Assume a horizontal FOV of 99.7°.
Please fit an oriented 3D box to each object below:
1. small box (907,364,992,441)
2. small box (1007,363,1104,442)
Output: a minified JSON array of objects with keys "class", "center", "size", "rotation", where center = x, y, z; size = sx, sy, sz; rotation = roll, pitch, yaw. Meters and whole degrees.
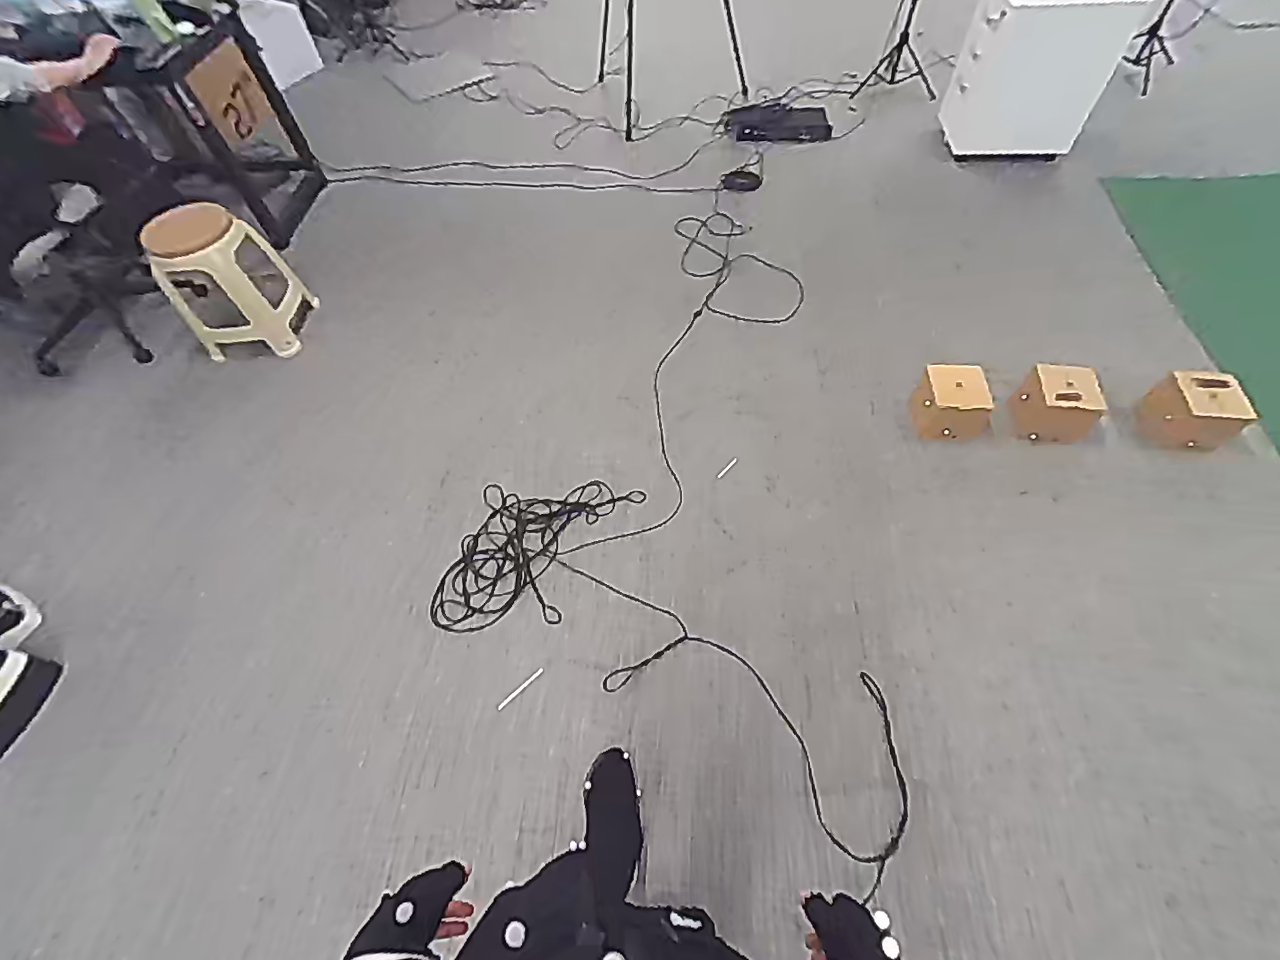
[{"class":"small box","center":[0.970,-0.244,1.712],"size":[0.168,0.176,0.179],"rotation":[2,58,5]},{"class":"small box","center":[1.283,-0.238,1.685],"size":[0.168,0.176,0.179],"rotation":[8,57,8]}]
